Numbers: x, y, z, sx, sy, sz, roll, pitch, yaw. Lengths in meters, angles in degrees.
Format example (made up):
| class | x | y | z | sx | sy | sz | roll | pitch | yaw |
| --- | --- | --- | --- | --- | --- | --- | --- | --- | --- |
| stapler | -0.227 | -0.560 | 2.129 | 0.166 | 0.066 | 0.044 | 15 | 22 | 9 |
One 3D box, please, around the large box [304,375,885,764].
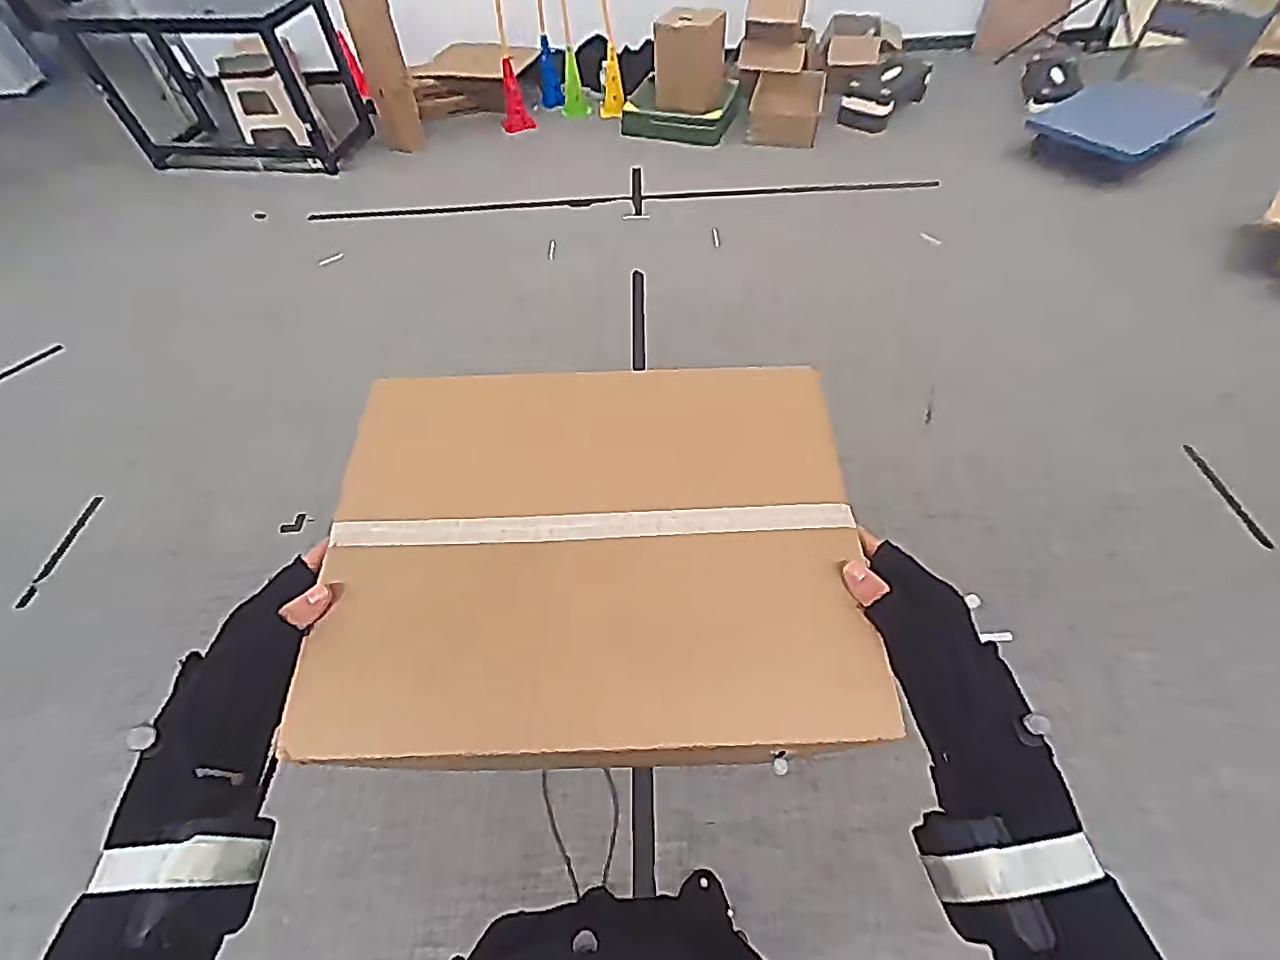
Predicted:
| class | x | y | z | sx | sy | sz | roll | pitch | yaw |
| --- | --- | --- | --- | --- | --- | --- | --- | --- | --- |
| large box | -0.032 | 0.115 | 0.565 | 0.408 | 0.320 | 0.320 | -2 | 60 | 0 |
